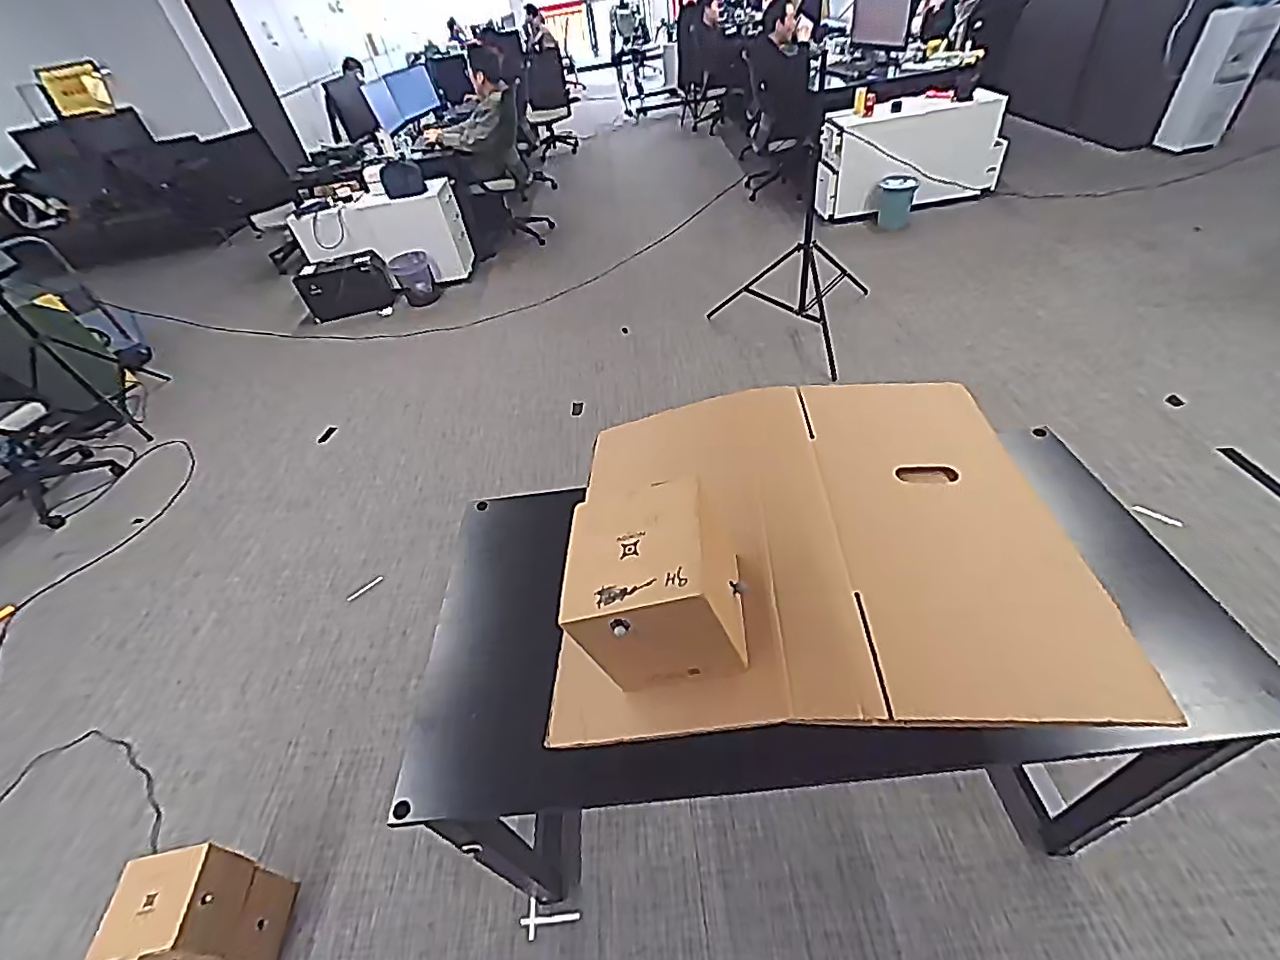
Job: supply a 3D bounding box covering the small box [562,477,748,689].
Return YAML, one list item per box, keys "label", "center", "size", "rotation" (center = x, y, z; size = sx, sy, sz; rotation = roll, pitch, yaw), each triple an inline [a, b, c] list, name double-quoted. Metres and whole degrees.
- label: "small box"
  center: [0.026, 0.129, 0.664]
  size: [0.168, 0.176, 0.179]
  rotation: [-16, 40, 18]

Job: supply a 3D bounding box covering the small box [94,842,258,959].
- label: "small box"
  center: [-0.936, 0.884, 1.113]
  size: [0.168, 0.176, 0.179]
  rotation: [-12, 42, -3]

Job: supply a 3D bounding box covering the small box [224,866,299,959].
- label: "small box"
  center: [-0.912, 1.005, 1.220]
  size: [0.168, 0.176, 0.179]
  rotation: [-10, 44, 0]
